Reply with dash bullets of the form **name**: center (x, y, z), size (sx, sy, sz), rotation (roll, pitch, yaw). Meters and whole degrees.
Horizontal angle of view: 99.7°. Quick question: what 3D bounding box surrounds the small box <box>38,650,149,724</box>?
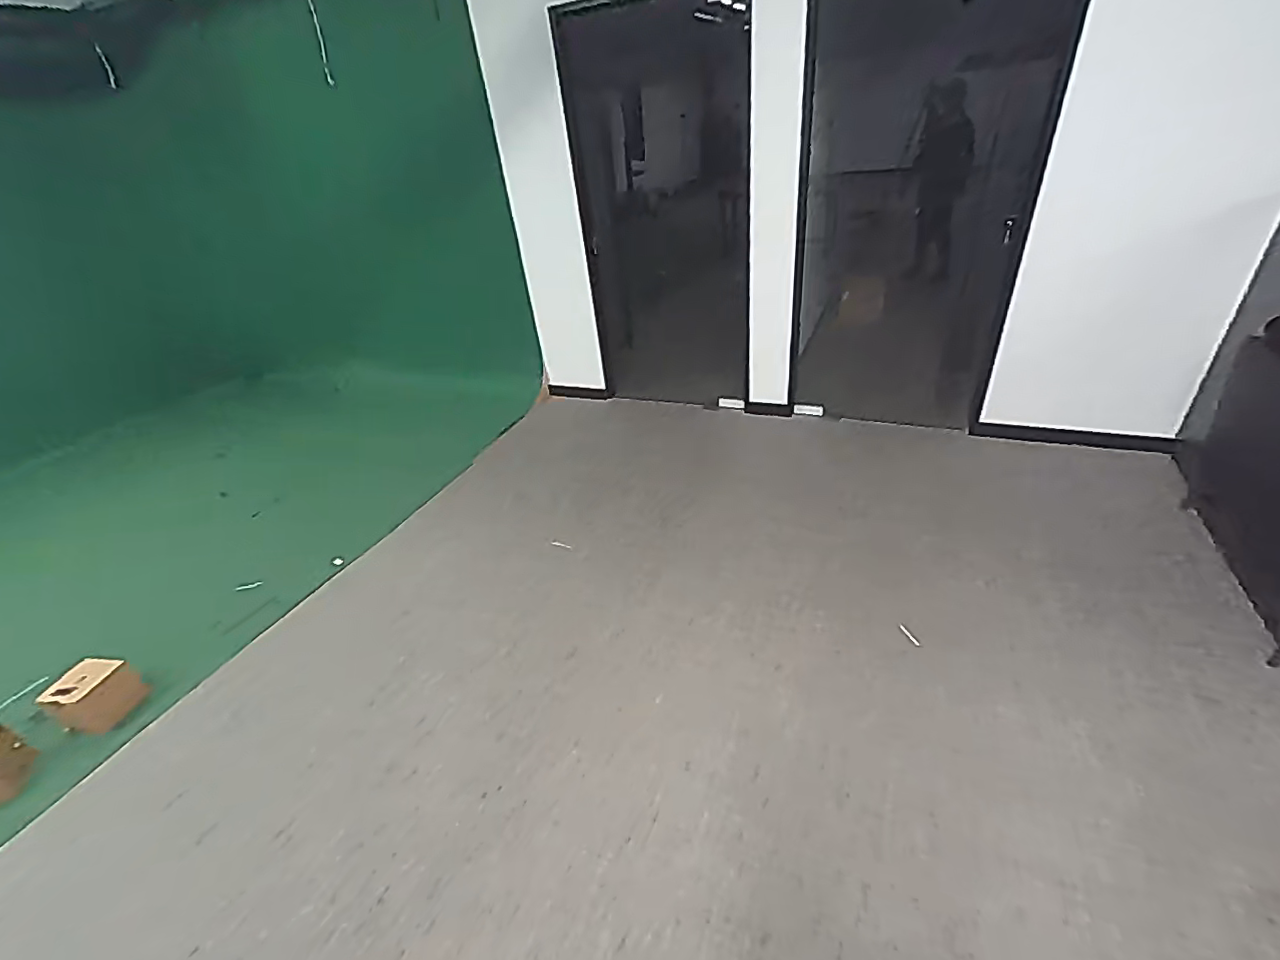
- **small box**: center (-1.867, 0.713, 1.860), size (0.168, 0.176, 0.179), rotation (1, 33, 10)

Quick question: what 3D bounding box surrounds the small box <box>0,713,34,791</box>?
- **small box**: center (-2.041, 0.866, 1.657), size (0.179, 0.176, 0.168), rotation (-23, 36, -23)
